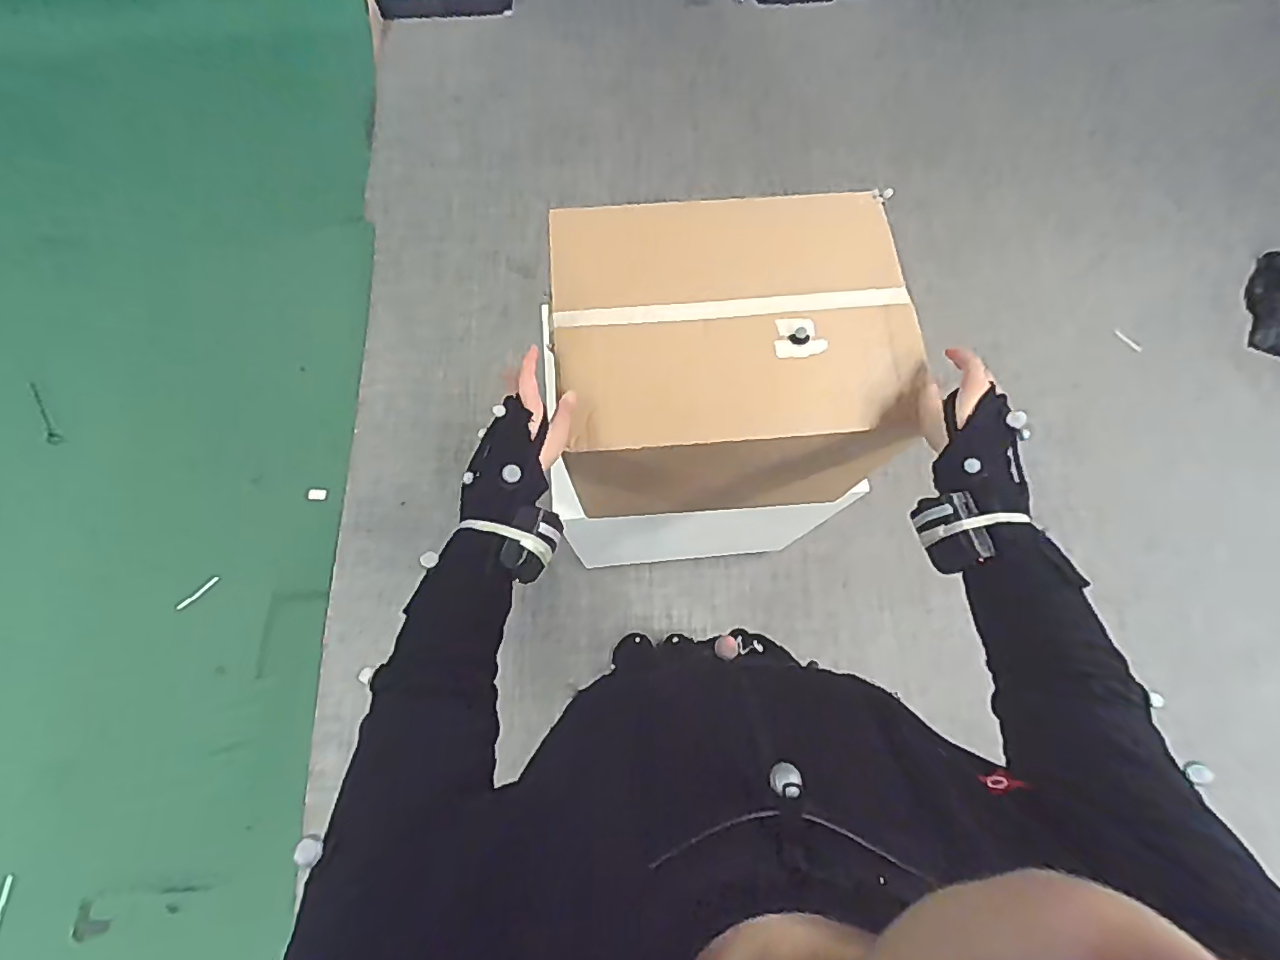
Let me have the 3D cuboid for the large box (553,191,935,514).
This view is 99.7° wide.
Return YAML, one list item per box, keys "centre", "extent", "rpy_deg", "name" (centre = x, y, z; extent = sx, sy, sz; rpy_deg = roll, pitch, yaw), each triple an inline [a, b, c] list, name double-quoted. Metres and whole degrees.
- centre: [0.103, -0.151, 0.755]
  extent: [0.408, 0.320, 0.320]
  rpy_deg: [-4, 73, -3]
  name: "large box"
